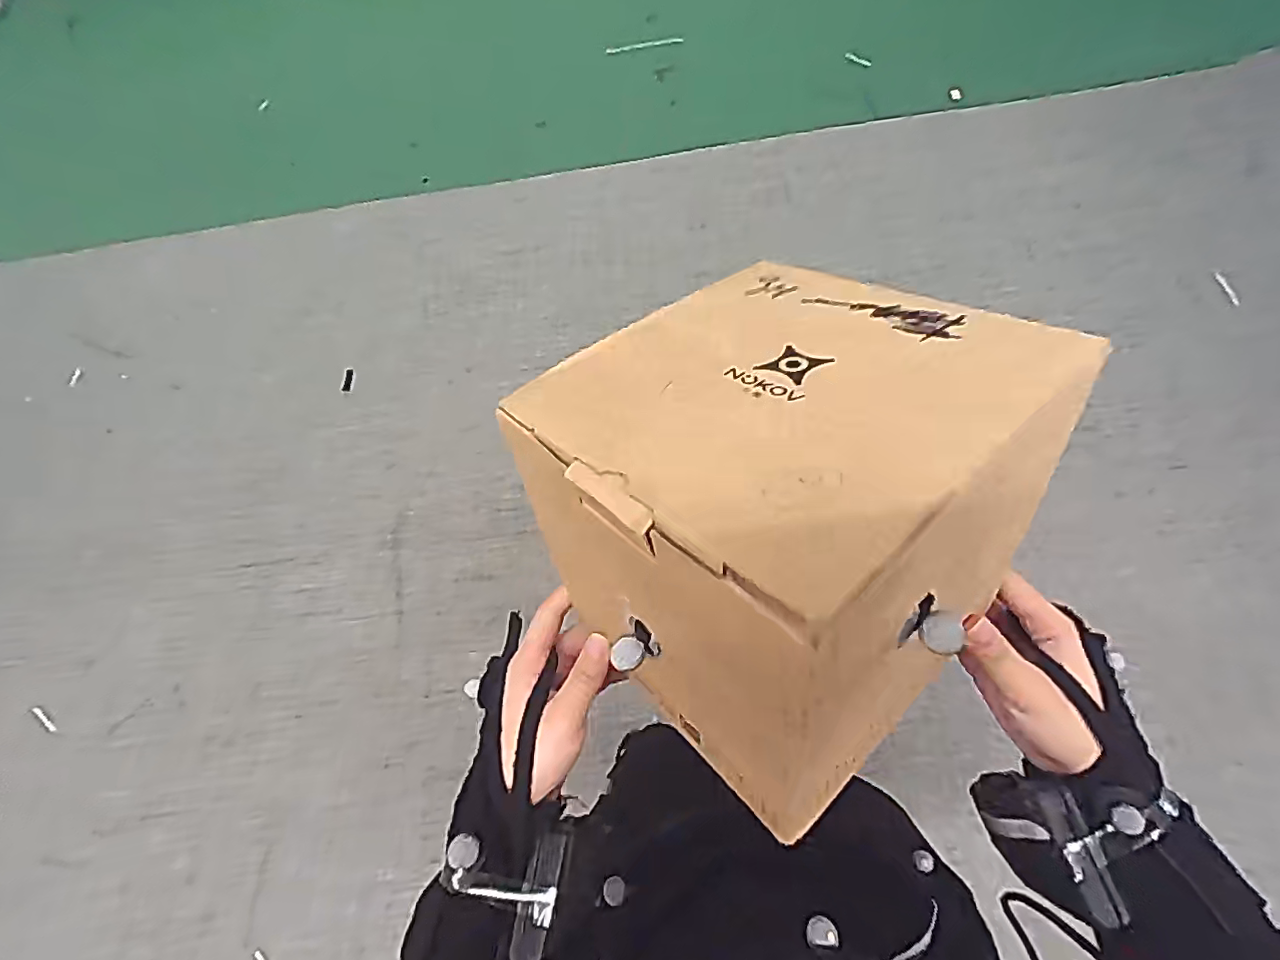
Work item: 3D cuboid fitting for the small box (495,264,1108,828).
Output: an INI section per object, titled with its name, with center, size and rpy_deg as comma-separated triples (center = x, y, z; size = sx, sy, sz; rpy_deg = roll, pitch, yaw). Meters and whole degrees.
[small box]
center = 0.066, 0.023, 0.264
size = 0.179, 0.176, 0.168
rpy_deg = -35, 47, -22
